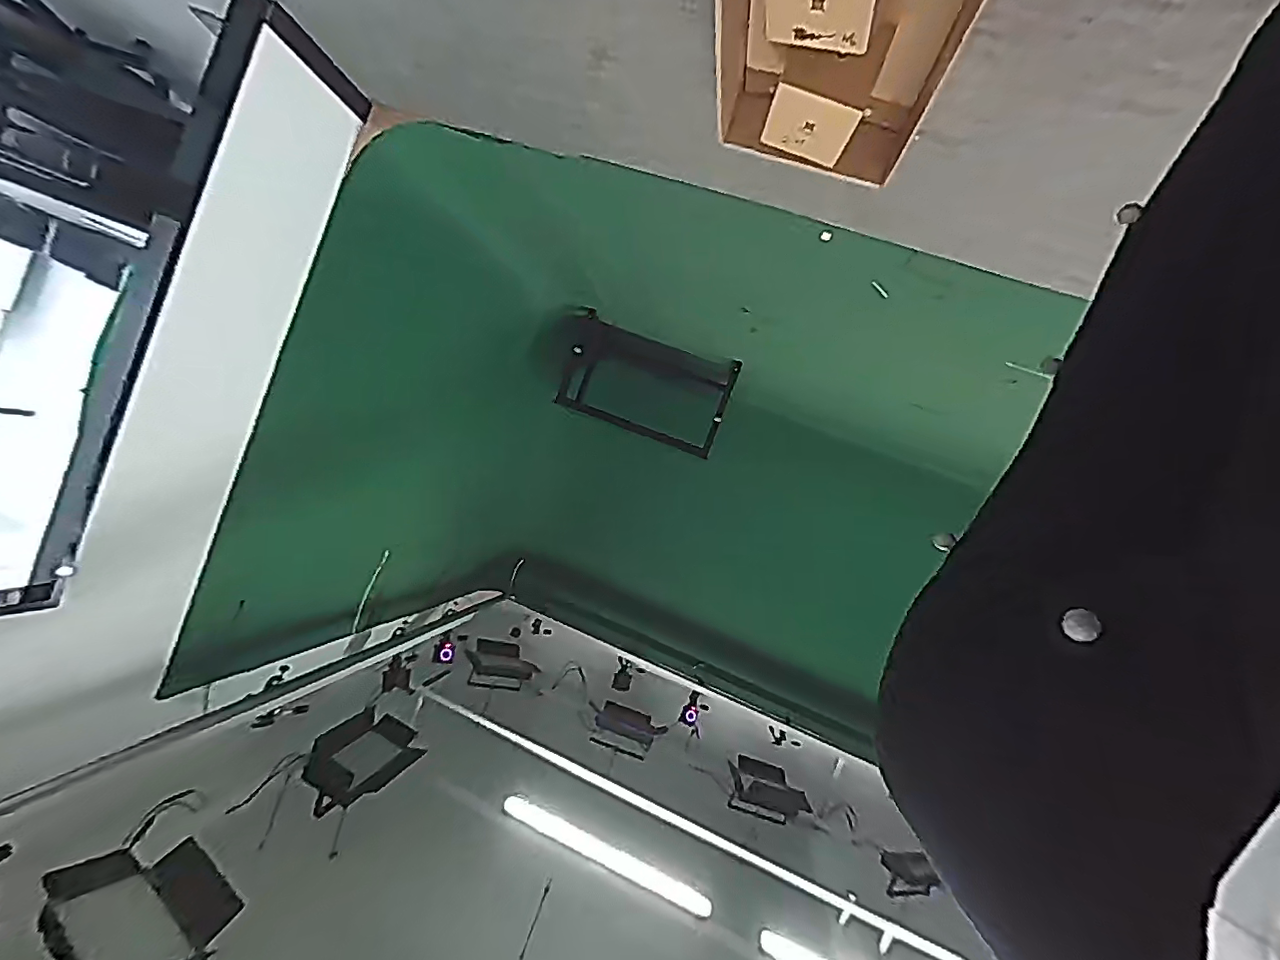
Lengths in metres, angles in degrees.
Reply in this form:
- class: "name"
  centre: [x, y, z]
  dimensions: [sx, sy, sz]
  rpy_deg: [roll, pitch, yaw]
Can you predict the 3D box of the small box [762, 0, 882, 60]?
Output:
- class: "small box"
  centre: [0.287, -0.779, 0.796]
  dimensions: [0.168, 0.176, 0.179]
  rpy_deg: [21, -179, 13]
